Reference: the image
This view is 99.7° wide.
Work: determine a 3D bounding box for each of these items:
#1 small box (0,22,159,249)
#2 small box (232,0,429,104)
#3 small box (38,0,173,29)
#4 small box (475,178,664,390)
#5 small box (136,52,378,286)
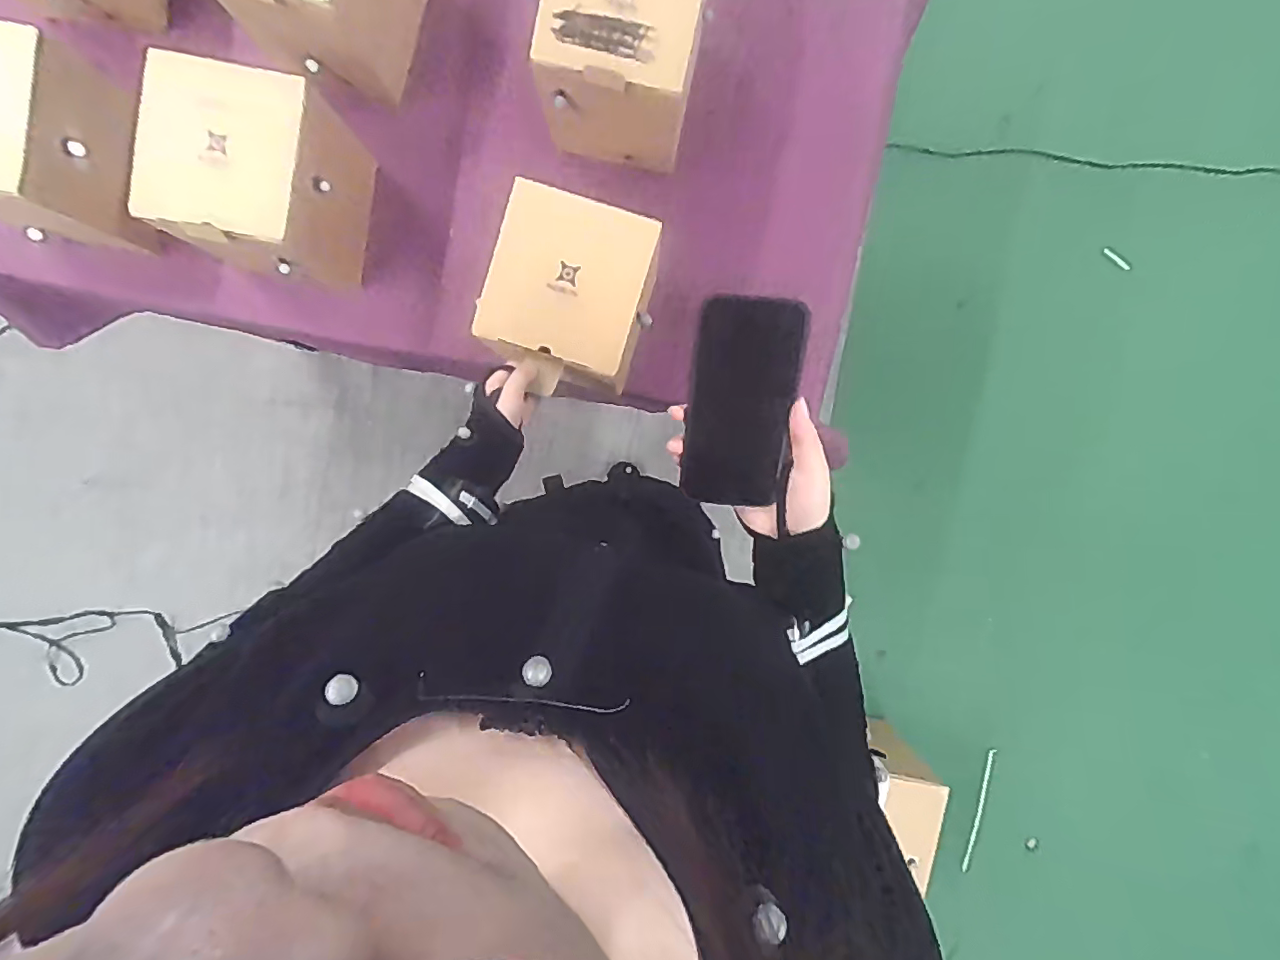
[{"bbox_3d":[-0.713,-0.401,0.646,0.168,0.176,0.179,10,92,-2],"label":"small box"},{"bbox_3d":[-0.371,-0.600,0.636,0.168,0.176,0.179,18,94,-1],"label":"small box"},{"bbox_3d":[-0.688,-0.678,0.629,0.168,0.176,0.179,7,95,-2],"label":"small box"},{"bbox_3d":[-0.078,-0.222,0.662,0.168,0.176,0.179,17,93,-1],"label":"small box"},{"bbox_3d":[-0.443,-0.354,0.653,0.168,0.176,0.179,11,93,-2],"label":"small box"}]
